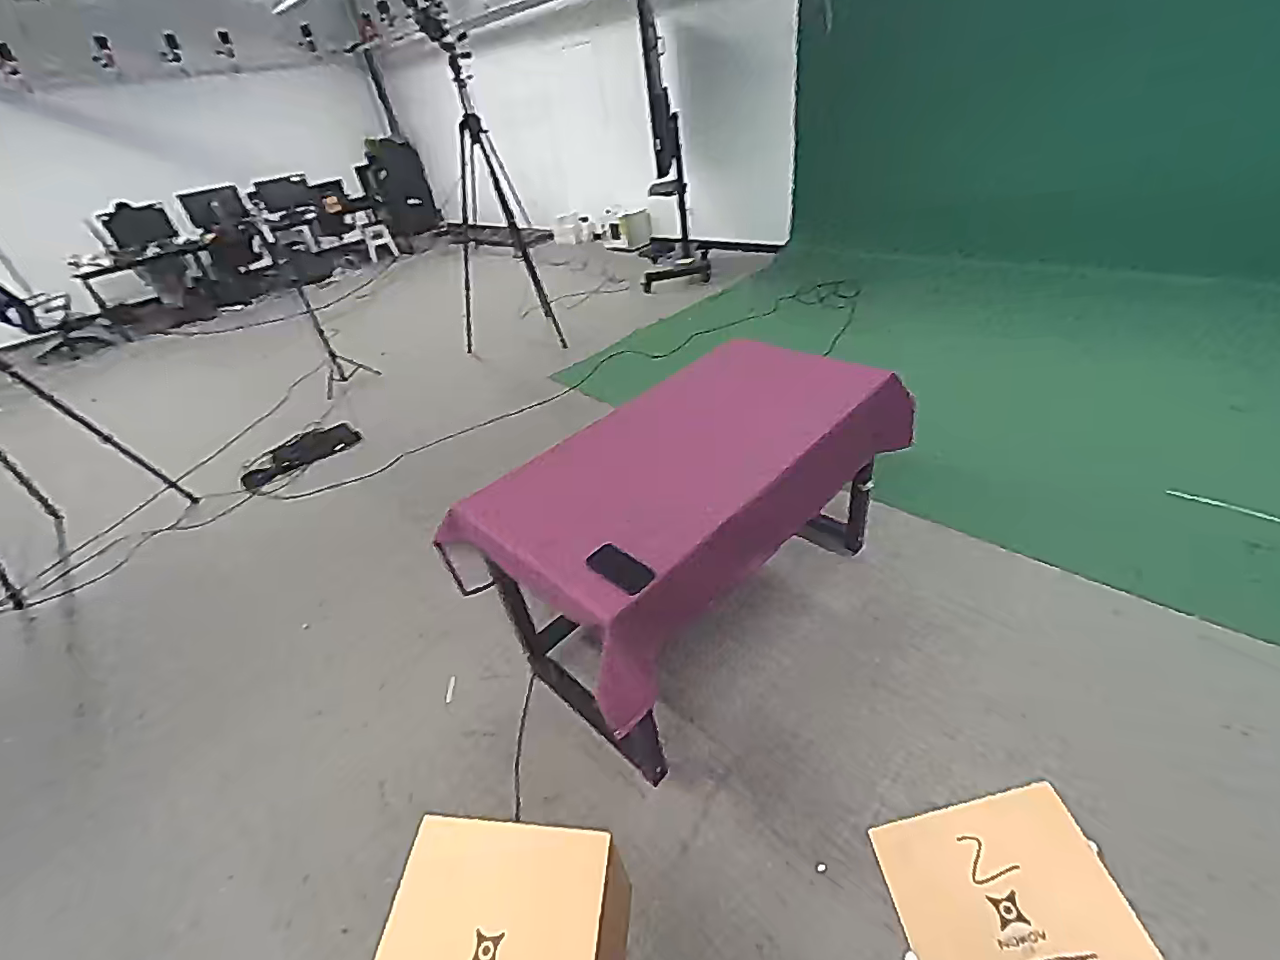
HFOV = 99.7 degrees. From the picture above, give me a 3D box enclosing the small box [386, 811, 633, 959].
[{"bbox_3d":[-0.101,0.409,0.455,0.168,0.176,0.179,1,44,9],"label":"small box"}]
